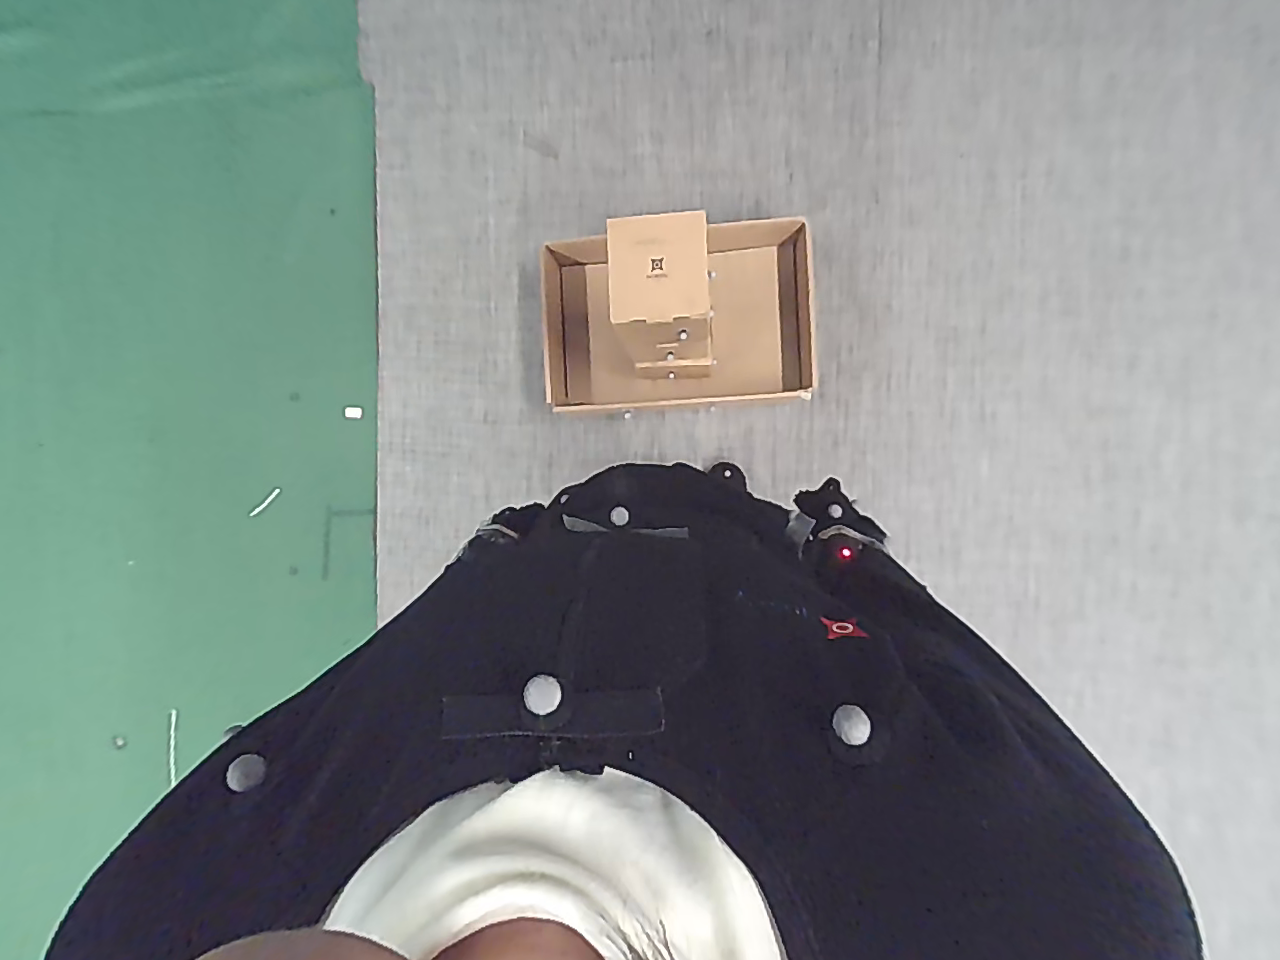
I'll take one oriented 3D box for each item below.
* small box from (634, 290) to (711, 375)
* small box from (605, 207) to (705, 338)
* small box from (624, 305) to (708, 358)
[{"bbox_3d":[0.082,-0.351,1.310,0.179,0.176,0.168,1,90,8],"label":"small box"},{"bbox_3d":[0.034,-0.359,0.971,0.168,0.176,0.179,-2,90,6],"label":"small box"},{"bbox_3d":[0.056,-0.364,1.152,0.168,0.176,0.179,-4,90,8],"label":"small box"}]
